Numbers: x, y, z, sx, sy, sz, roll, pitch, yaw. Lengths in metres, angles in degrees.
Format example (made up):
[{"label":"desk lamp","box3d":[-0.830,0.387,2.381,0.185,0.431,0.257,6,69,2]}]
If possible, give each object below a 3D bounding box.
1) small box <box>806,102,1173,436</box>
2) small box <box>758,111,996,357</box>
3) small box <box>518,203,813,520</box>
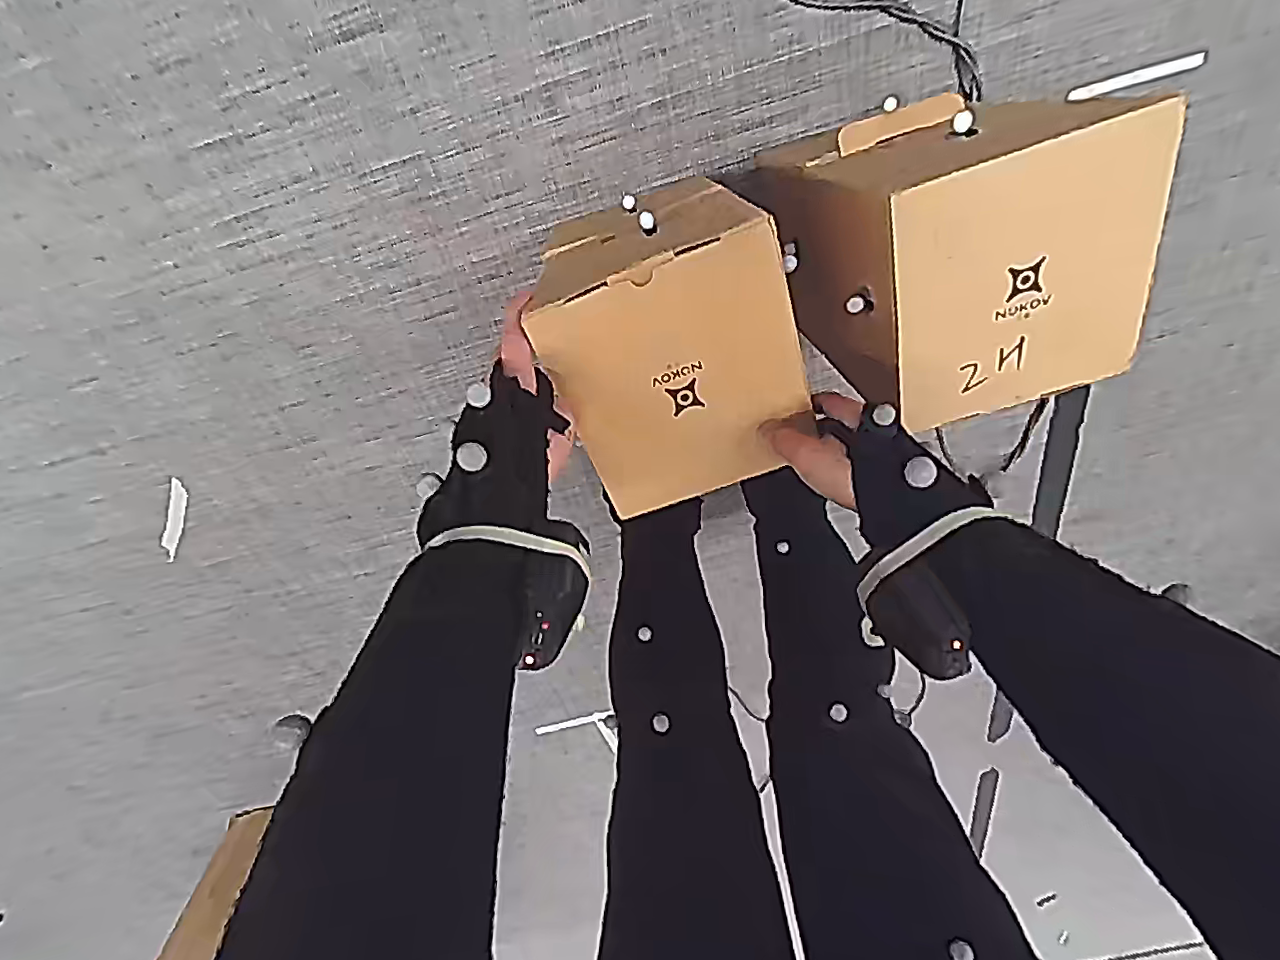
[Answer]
[{"label":"small box","box3d":[0.241,-0.166,0.423,0.168,0.176,0.179,-16,124,7]},{"label":"small box","box3d":[0.229,-0.256,0.560,0.168,0.176,0.179,-15,124,6]},{"label":"small box","box3d":[0.024,-0.102,0.442,0.168,0.176,0.179,-19,121,9]}]
